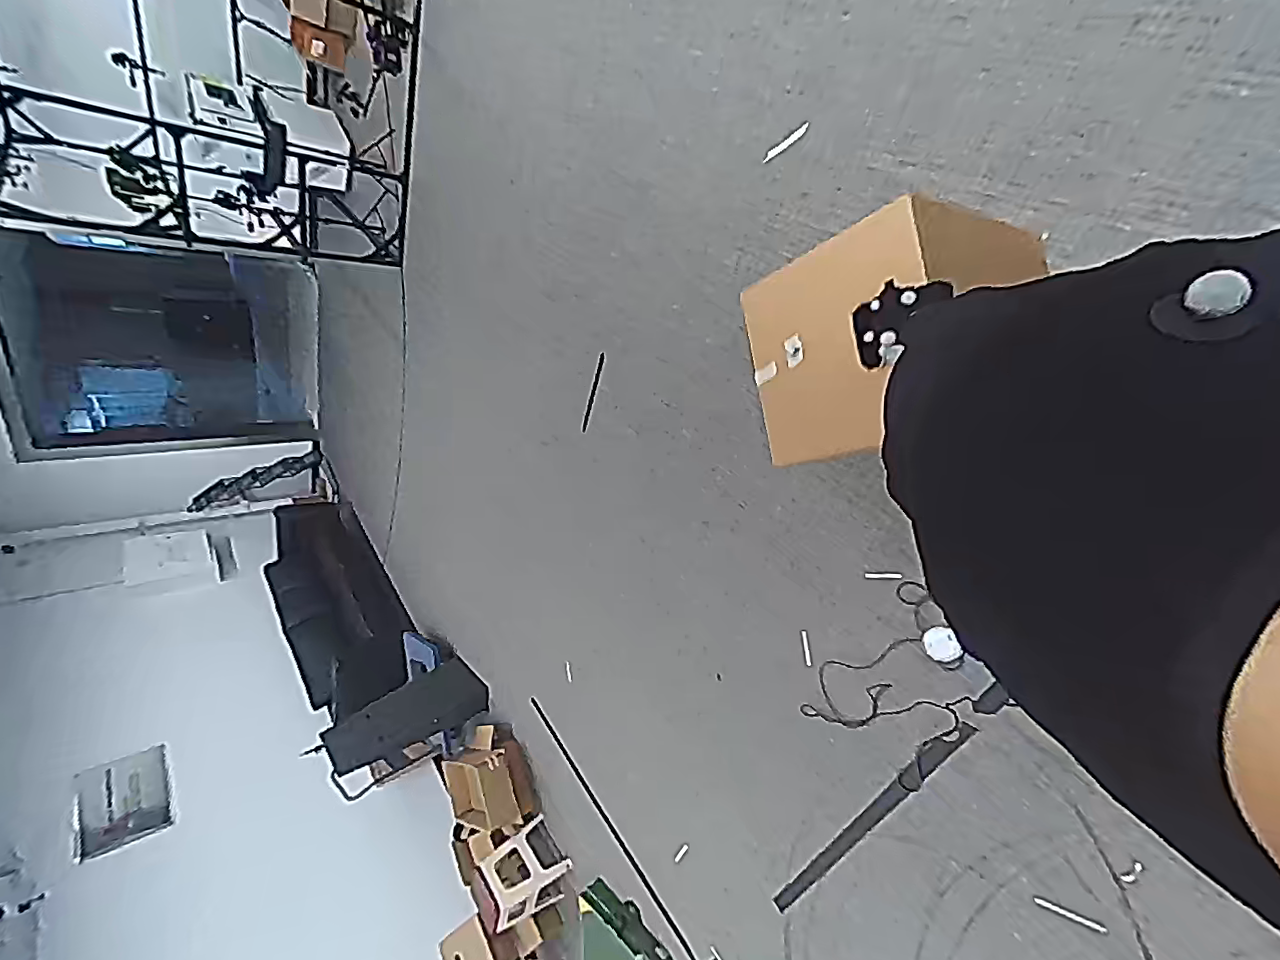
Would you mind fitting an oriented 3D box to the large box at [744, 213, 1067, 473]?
[{"bbox_3d":[0.451,-0.209,0.937,0.320,0.408,0.320,-15,84,56],"label":"large box"}]
